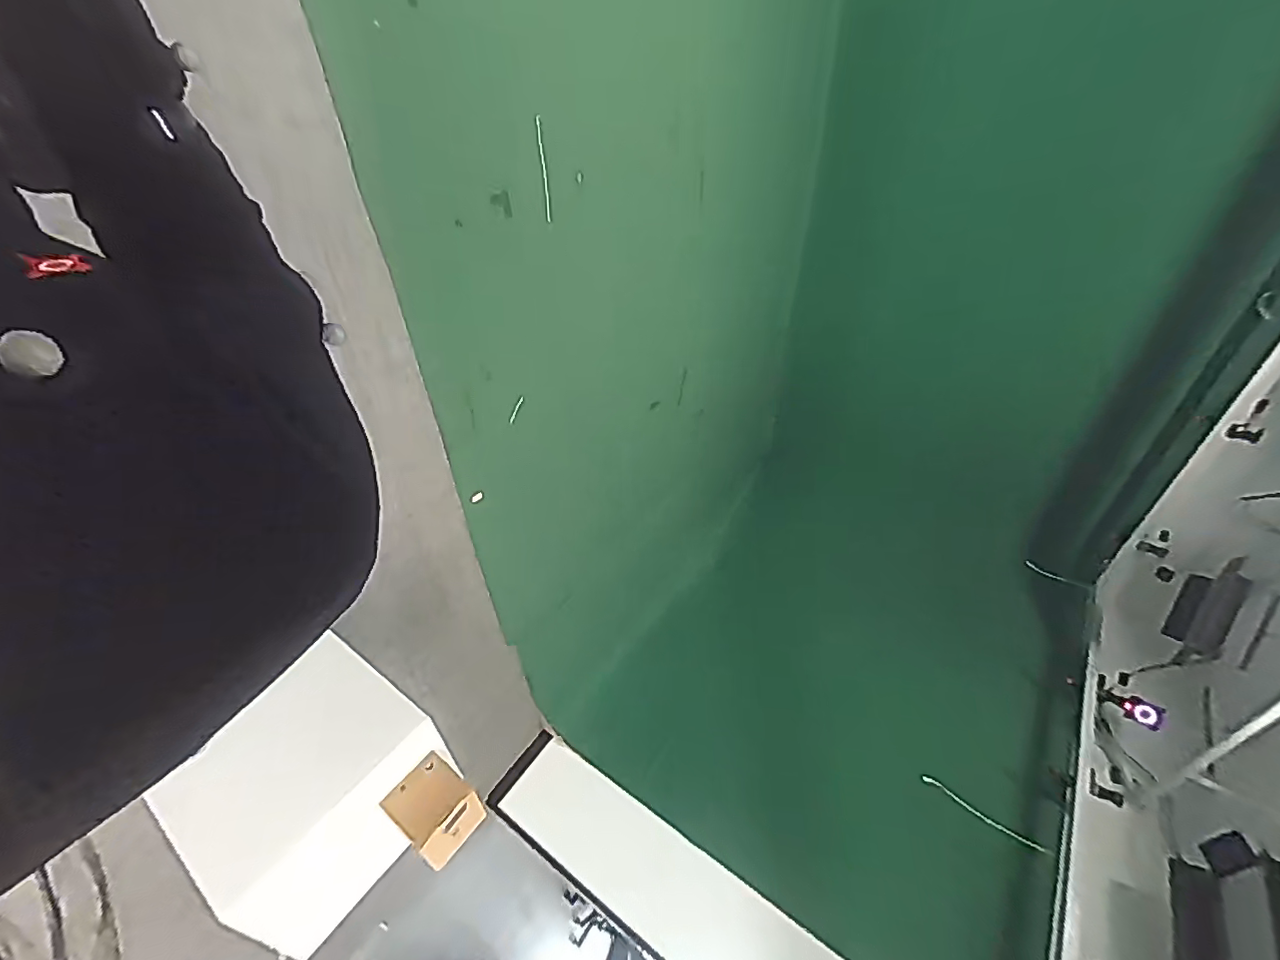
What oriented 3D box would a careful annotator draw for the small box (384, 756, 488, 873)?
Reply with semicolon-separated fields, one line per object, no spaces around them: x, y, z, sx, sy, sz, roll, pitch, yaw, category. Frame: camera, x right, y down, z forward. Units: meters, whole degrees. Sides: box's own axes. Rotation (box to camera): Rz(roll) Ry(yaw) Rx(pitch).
-0.525;0.853;1.395;0.168;0.176;0.179;-41;143;-38;small box
